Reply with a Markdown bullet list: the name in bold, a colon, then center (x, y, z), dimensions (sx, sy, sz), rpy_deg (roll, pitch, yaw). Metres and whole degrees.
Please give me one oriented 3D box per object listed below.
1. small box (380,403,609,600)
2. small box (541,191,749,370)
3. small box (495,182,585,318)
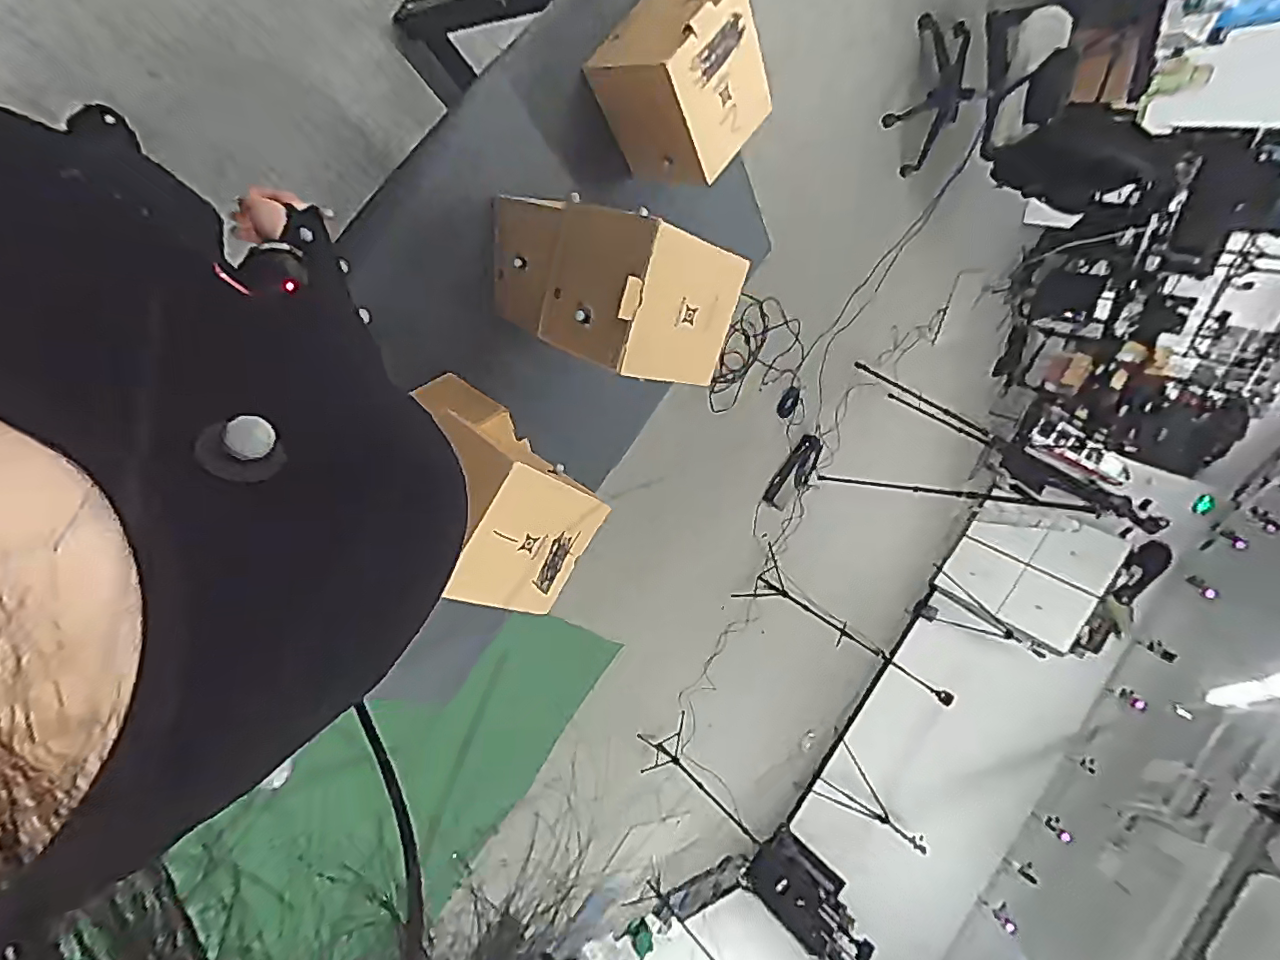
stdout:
- **small box**: center (-0.178, 0.025, 0.668), dimensions (0.179, 0.176, 0.168), rpy_deg (30, 90, -53)
- **small box**: center (0.000, -0.249, 0.682), dimensions (0.179, 0.176, 0.168), rpy_deg (-6, 120, -47)
- **small box**: center (-0.097, -0.328, 0.786), dimensions (0.179, 0.176, 0.168), rpy_deg (-19, 129, -40)
